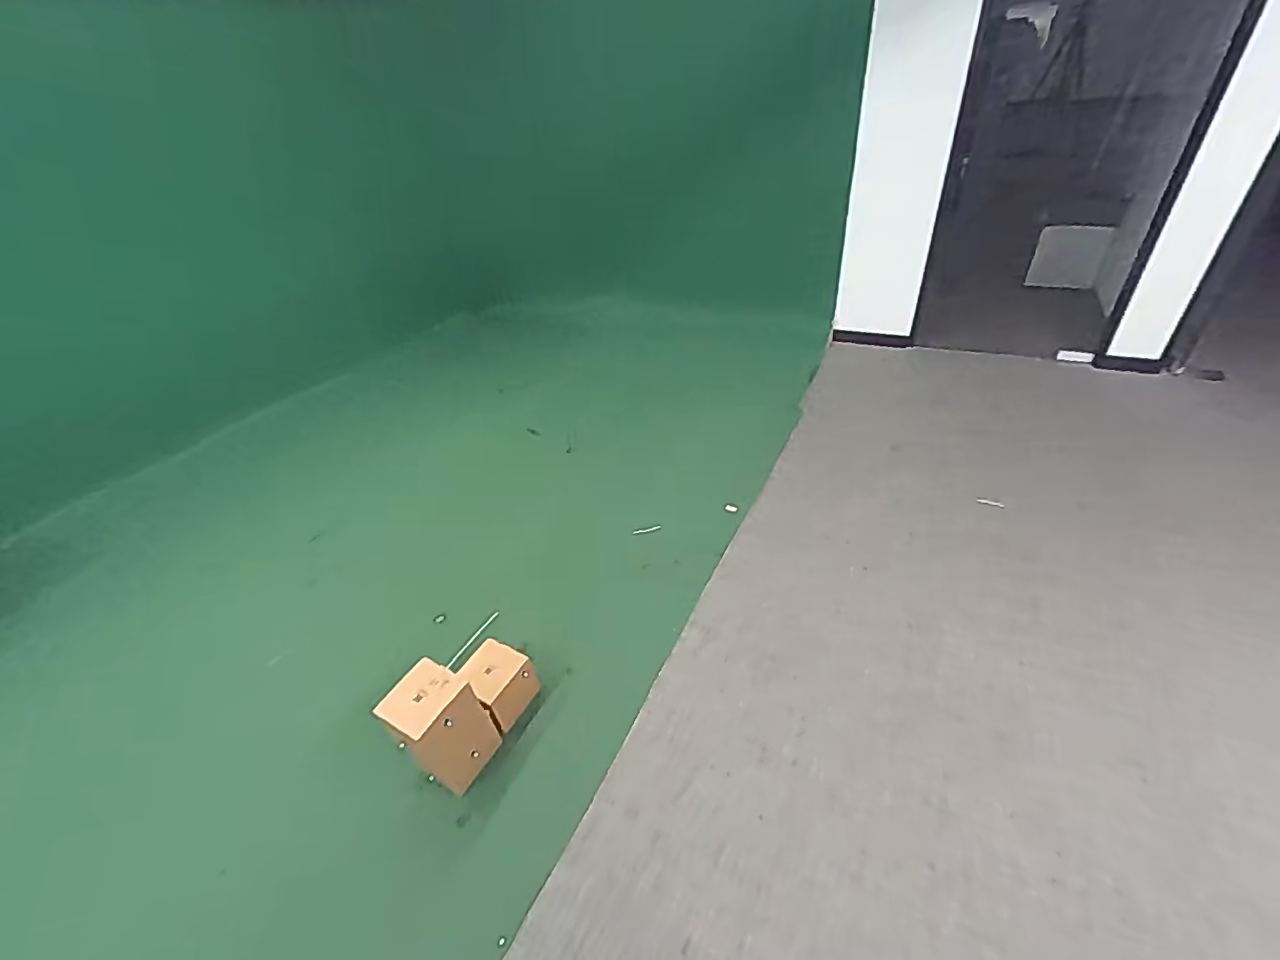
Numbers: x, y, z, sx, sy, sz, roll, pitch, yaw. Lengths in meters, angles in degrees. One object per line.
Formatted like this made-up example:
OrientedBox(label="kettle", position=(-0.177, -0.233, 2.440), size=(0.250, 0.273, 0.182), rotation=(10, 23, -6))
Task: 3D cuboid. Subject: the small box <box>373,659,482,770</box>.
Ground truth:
OrientedBox(label="small box", position=(-0.539, 0.607, 1.397), size=(0.168, 0.176, 0.179), rotation=(16, 43, 26))
